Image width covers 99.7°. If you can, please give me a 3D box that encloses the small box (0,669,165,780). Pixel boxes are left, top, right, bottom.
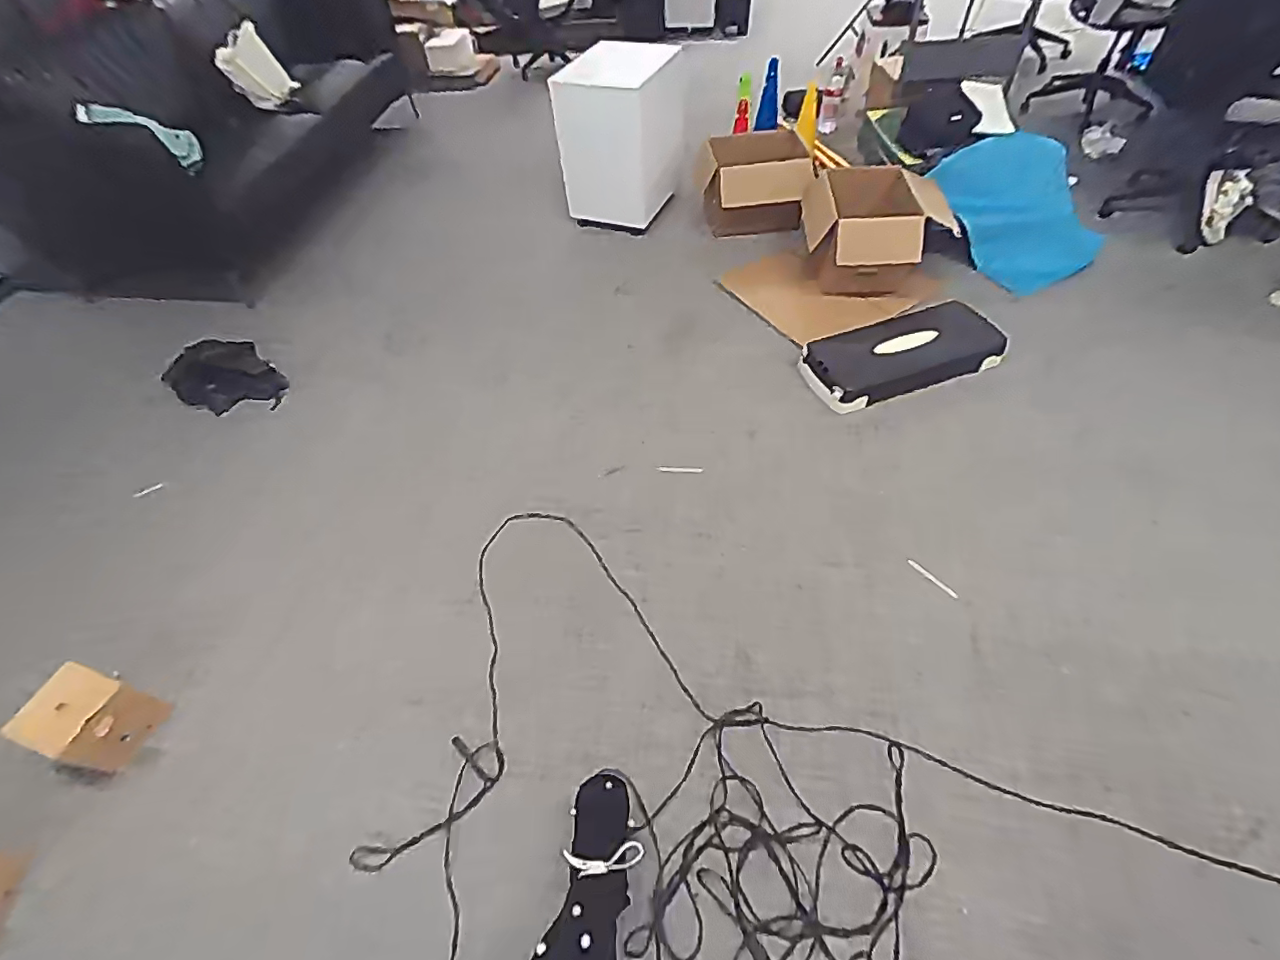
[{"bbox_3d":[-1.257,0.557,1.224,0.179,0.176,0.168,13,53,13],"label":"small box"}]
